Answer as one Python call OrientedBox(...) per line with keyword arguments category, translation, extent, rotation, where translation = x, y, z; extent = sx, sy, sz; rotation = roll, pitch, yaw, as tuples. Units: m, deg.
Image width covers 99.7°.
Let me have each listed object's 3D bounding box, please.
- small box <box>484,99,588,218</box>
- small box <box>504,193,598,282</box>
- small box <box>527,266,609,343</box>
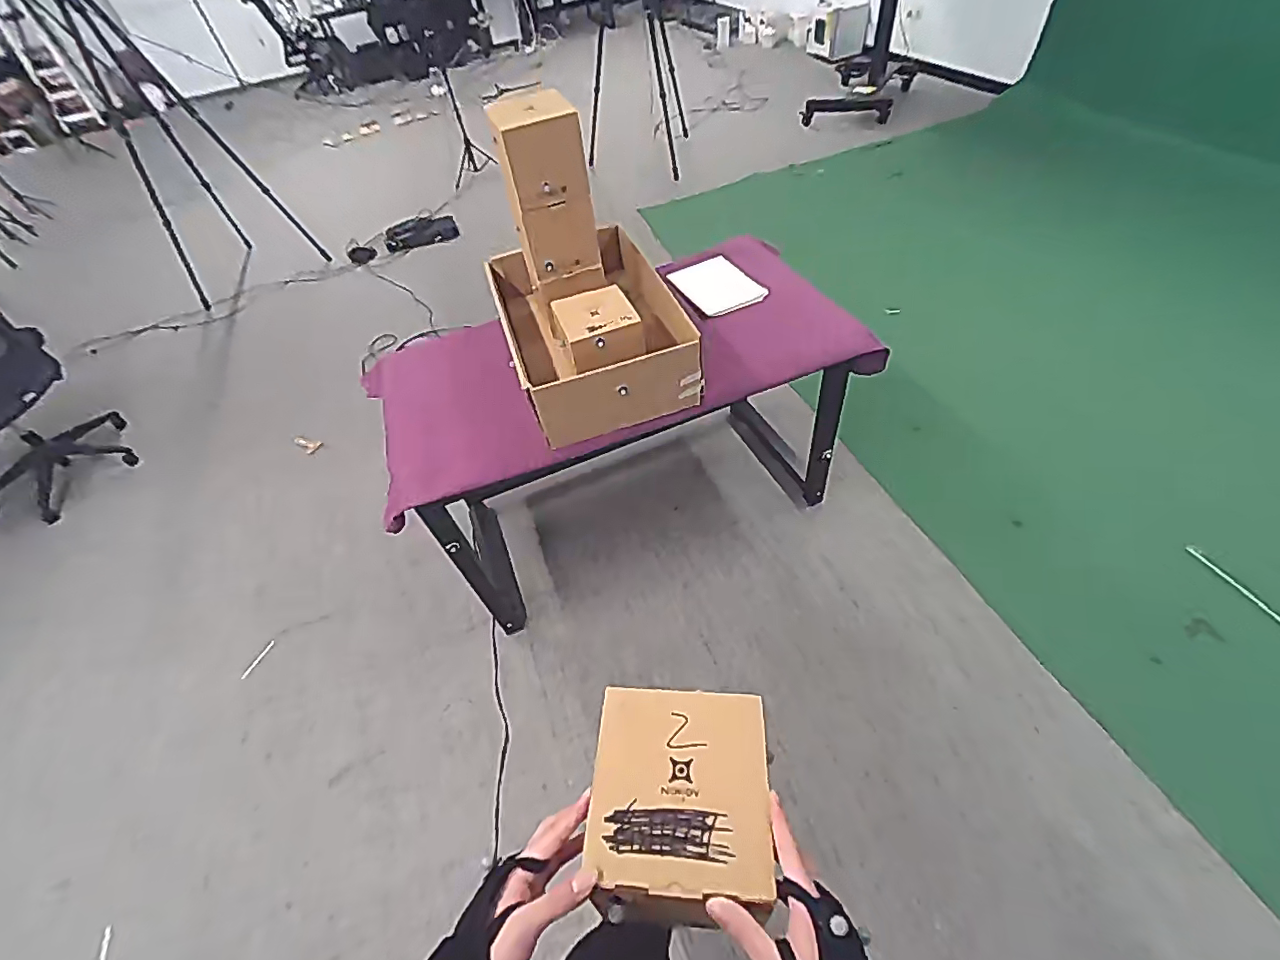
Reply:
OrientedBox(category="small box", translation=(-0.227, -0.710, 1.198), extent=(0.168, 0.176, 0.179), rotation=(-21, 52, -9))
OrientedBox(category="small box", translation=(-0.213, -0.607, 1.323), extent=(0.168, 0.176, 0.179), rotation=(-21, 51, -10))
OrientedBox(category="small box", translation=(-0.194, -0.497, 1.444), extent=(0.168, 0.176, 0.179), rotation=(-20, 52, -10))
